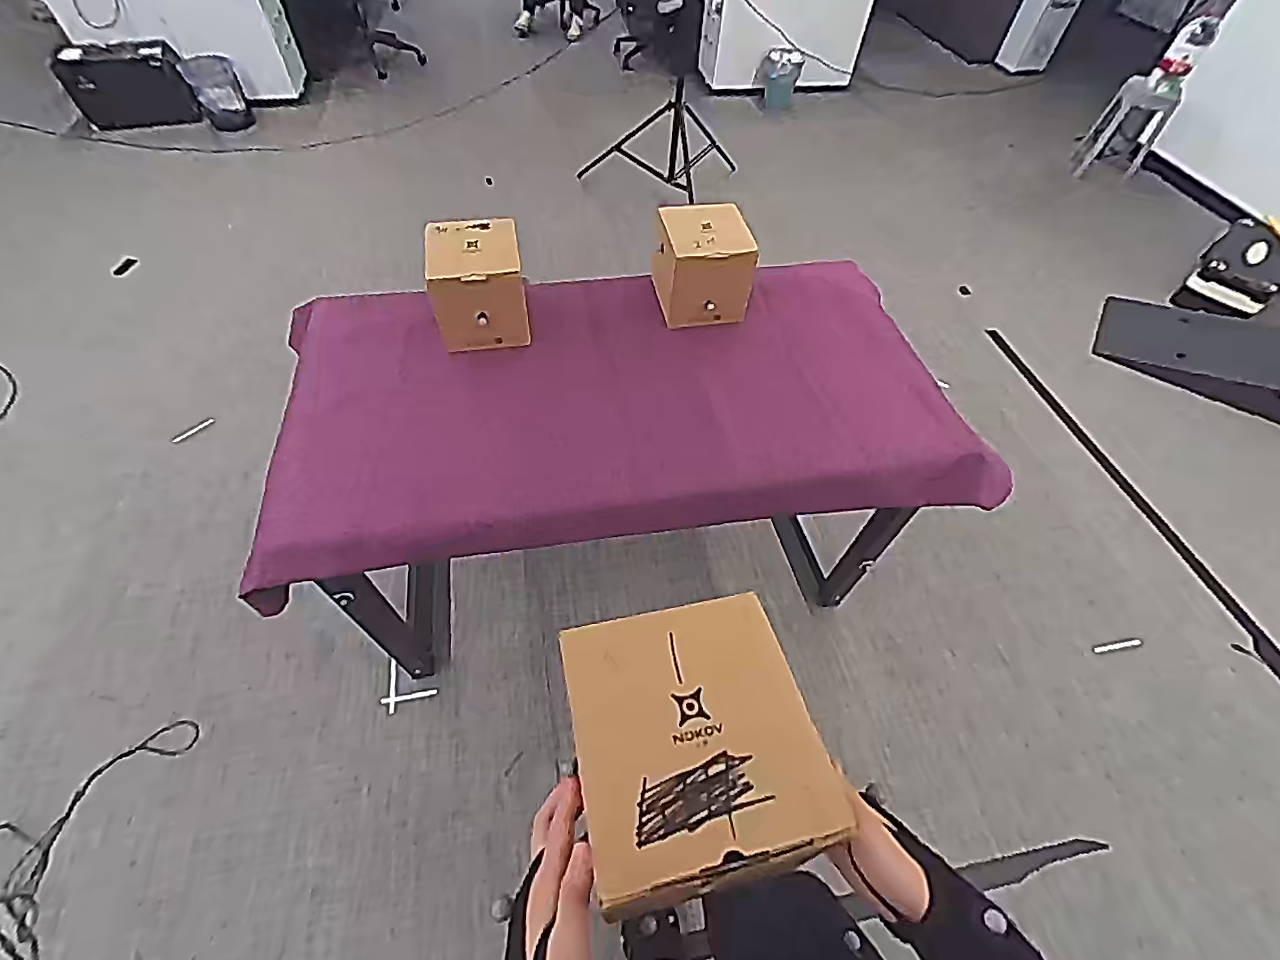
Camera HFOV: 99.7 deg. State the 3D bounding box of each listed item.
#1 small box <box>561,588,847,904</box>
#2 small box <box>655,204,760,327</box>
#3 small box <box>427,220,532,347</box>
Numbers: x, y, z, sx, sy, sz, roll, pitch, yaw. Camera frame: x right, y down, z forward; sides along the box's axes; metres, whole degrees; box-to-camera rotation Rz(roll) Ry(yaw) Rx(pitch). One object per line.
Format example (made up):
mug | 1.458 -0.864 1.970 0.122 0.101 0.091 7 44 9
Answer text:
small box | 0.034 0.218 0.439 0.168 0.176 0.179 -9 48 -10
small box | 0.129 -0.445 1.126 0.168 0.176 0.179 -8 57 -8
small box | -0.307 -0.375 1.053 0.168 0.176 0.179 -8 58 -9
